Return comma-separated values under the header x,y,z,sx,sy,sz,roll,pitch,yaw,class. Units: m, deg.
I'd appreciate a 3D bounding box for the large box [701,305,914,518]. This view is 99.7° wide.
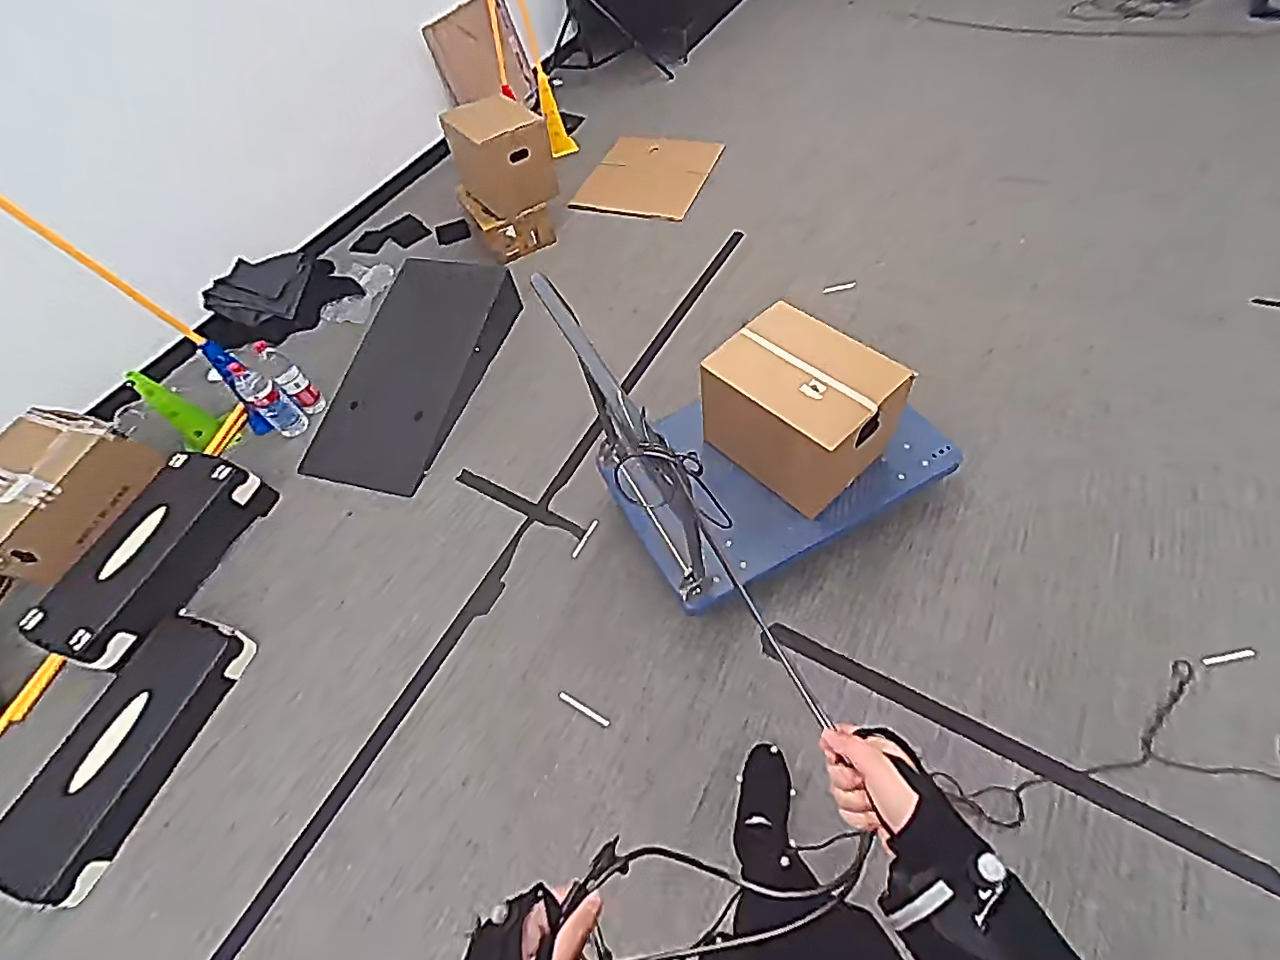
x,y,z,sx,sy,sz,roll,pitch,yaw,class
0.406,-0.180,1.416,0.320,0.320,0.408,-40,61,-16,large box
